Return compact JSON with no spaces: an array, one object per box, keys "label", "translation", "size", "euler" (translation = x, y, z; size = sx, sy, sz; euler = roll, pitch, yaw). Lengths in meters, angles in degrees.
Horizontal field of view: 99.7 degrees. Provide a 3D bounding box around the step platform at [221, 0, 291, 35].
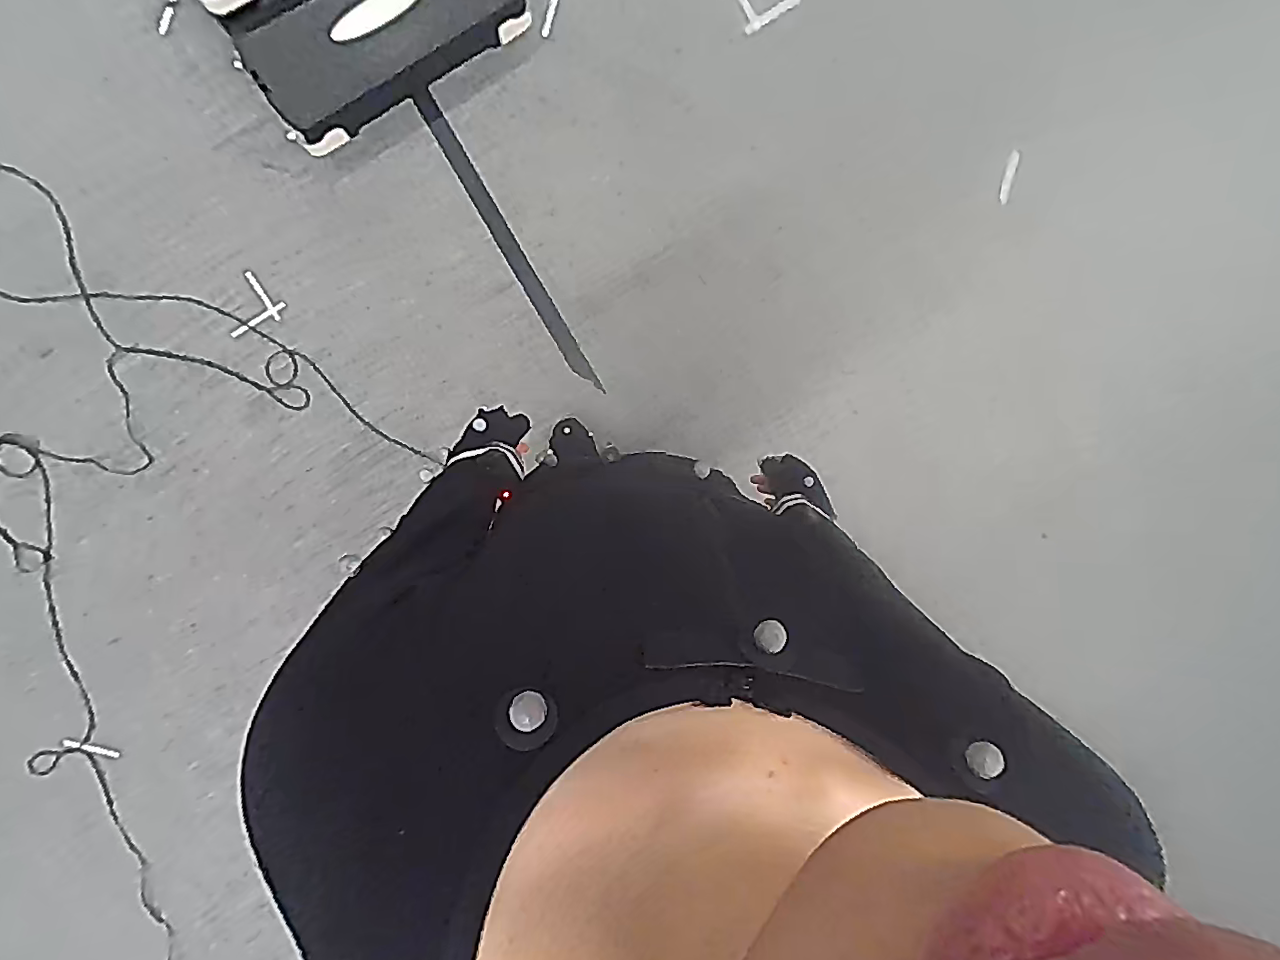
[{"label":"step platform","translation":[-0.732,-1.361,1.231],"size":[0.684,0.204,0.286],"euler":[-33,96,-3]}]
